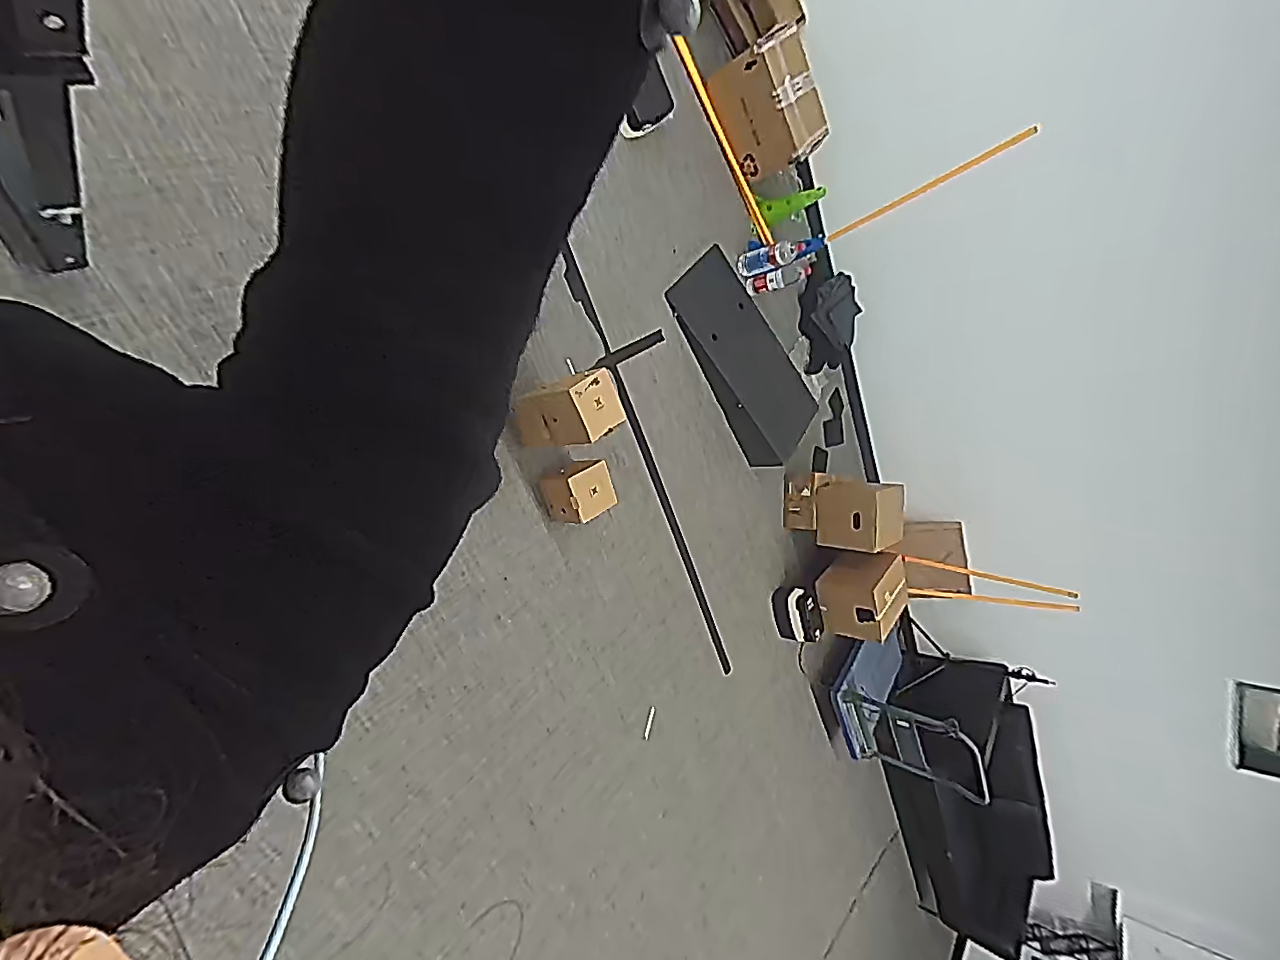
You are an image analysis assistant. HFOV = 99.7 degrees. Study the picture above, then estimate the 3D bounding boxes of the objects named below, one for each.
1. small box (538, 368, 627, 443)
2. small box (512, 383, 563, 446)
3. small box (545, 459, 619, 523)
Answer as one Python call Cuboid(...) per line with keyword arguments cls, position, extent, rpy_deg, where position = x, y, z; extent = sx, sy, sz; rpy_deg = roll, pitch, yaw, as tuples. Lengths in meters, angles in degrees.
Cuboid(cls="small box", position=(-0.176, -0.224, 1.649), extent=(0.168, 0.176, 0.179), rpy_deg=(-41, 119, -38))
Cuboid(cls="small box", position=(-0.293, -0.217, 1.764), extent=(0.179, 0.176, 0.168), rpy_deg=(-36, 115, -40))
Cuboid(cls="small box", position=(-0.206, 0.036, 1.854), extent=(0.179, 0.176, 0.168), rpy_deg=(-32, 112, -41))
